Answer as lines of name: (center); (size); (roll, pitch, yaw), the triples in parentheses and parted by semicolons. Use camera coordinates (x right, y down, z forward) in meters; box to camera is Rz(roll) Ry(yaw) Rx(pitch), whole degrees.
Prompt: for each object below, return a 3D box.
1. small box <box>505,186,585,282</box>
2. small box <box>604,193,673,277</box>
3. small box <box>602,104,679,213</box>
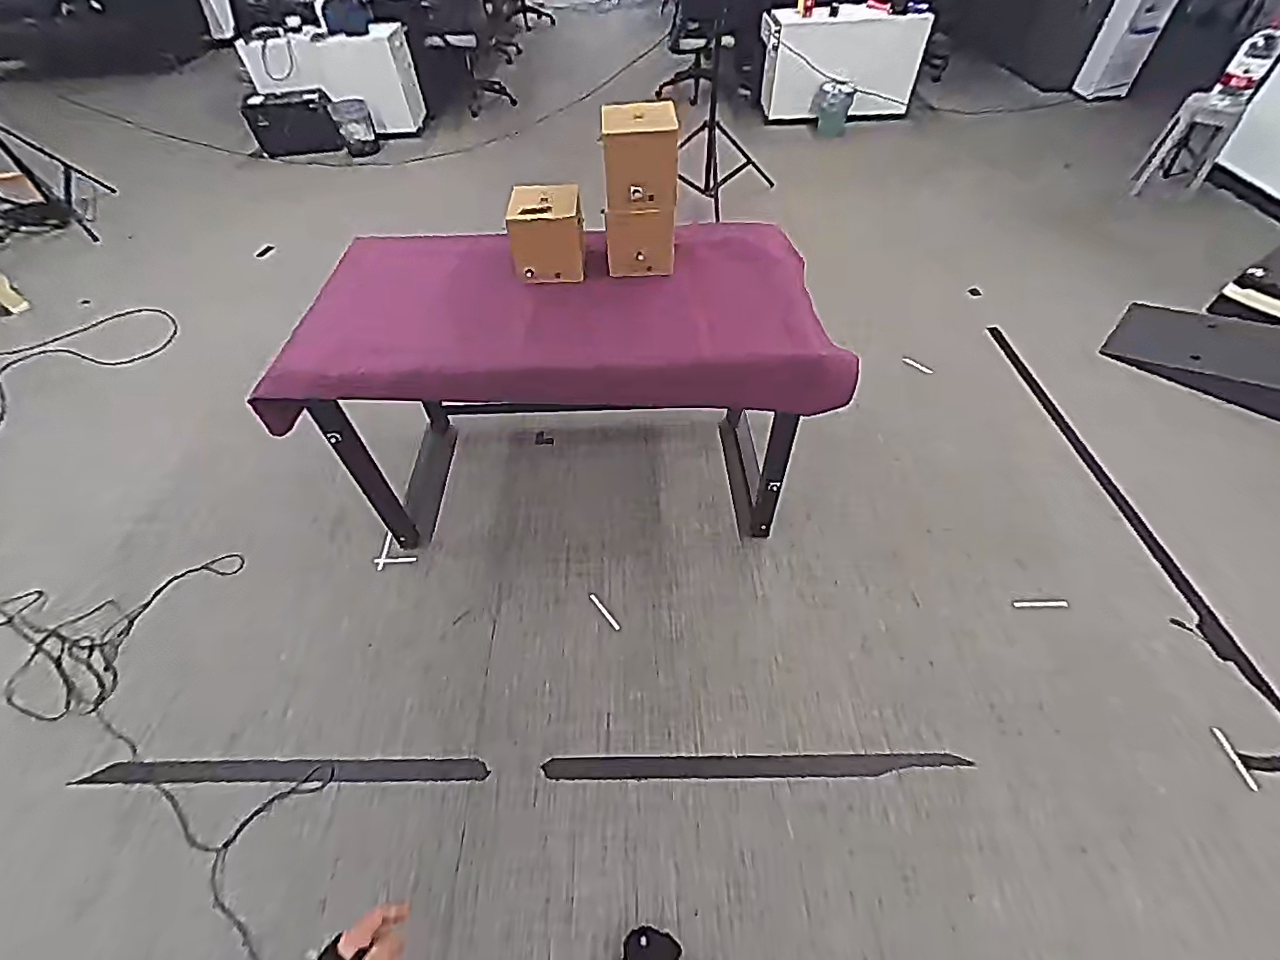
small box: (-0.232, -0.618, 1.370); (0.168, 0.176, 0.179); (-2, 51, 0)
small box: (-0.002, -0.640, 1.381); (0.168, 0.176, 0.179); (-2, 52, 1)
small box: (-0.001, -0.747, 1.258); (0.168, 0.176, 0.179); (-4, 52, 0)
